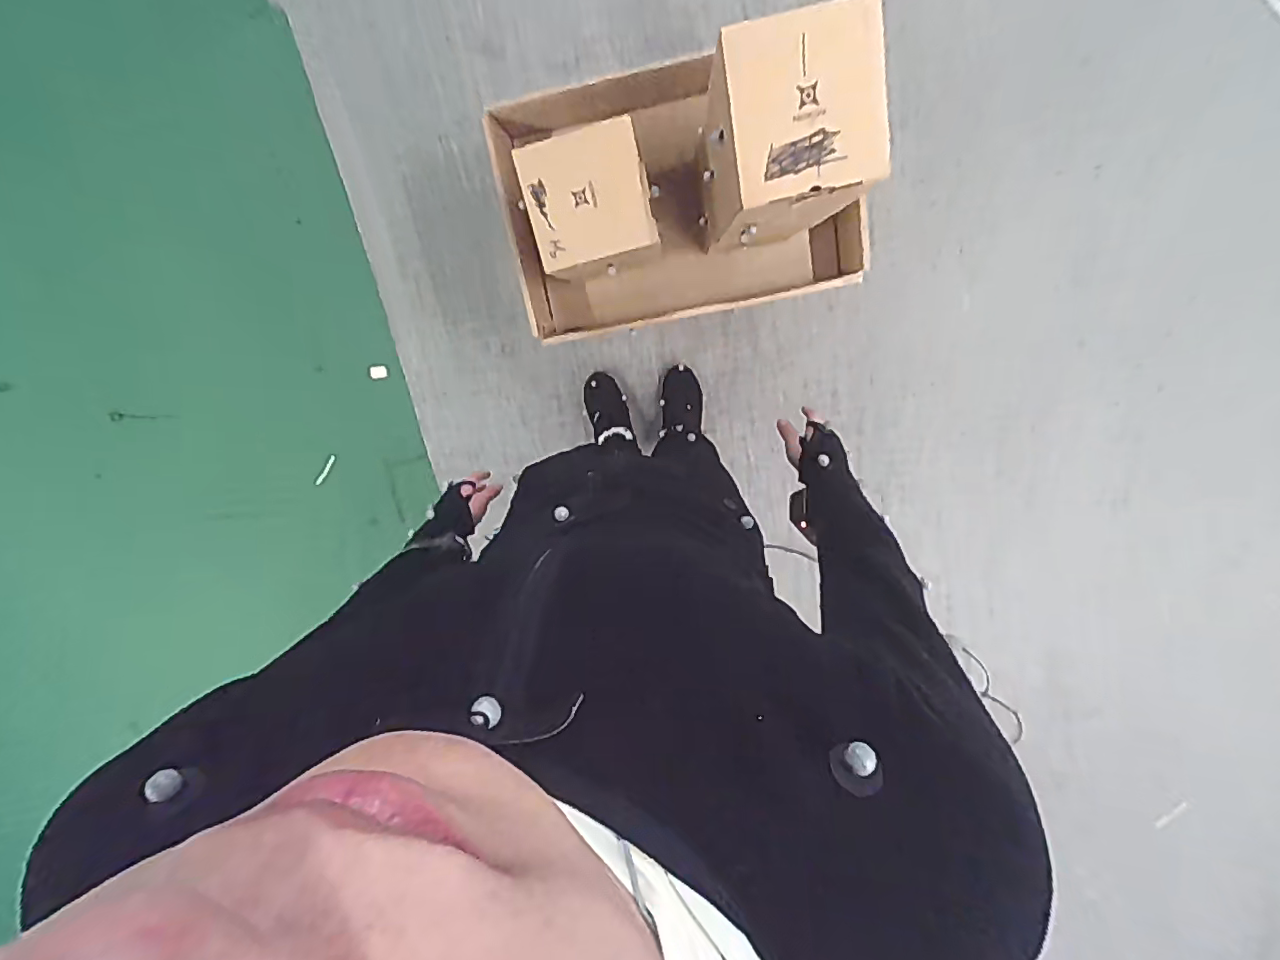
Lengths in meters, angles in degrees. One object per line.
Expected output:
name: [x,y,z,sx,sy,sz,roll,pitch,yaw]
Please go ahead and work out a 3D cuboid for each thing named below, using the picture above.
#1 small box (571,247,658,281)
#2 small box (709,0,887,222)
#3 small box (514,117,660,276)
small box: [-0.066,-0.469,0.992,0.179,0.176,0.168,-11,106,4]
small box: [0.180,-0.424,0.650,0.168,0.176,0.179,-10,105,5]
small box: [-0.072,-0.422,0.835,0.179,0.176,0.168,-13,106,5]
